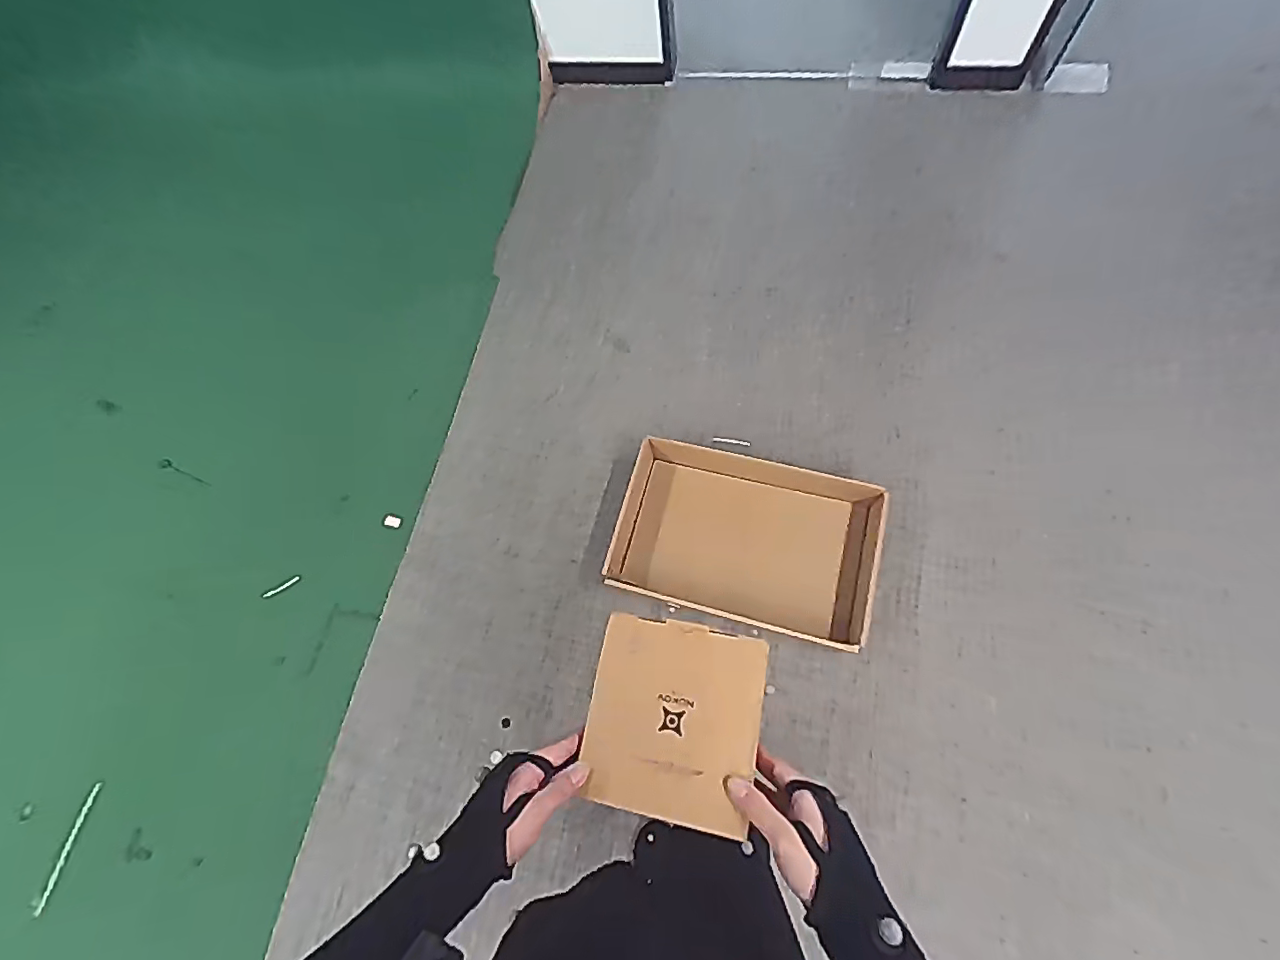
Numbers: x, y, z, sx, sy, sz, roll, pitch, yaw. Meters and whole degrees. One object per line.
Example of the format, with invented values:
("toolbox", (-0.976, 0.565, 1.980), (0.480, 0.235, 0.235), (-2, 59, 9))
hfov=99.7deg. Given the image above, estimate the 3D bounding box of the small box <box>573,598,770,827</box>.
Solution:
("small box", (0.043, 0.243, 0.591), (0.168, 0.176, 0.179), (8, 70, 12))
